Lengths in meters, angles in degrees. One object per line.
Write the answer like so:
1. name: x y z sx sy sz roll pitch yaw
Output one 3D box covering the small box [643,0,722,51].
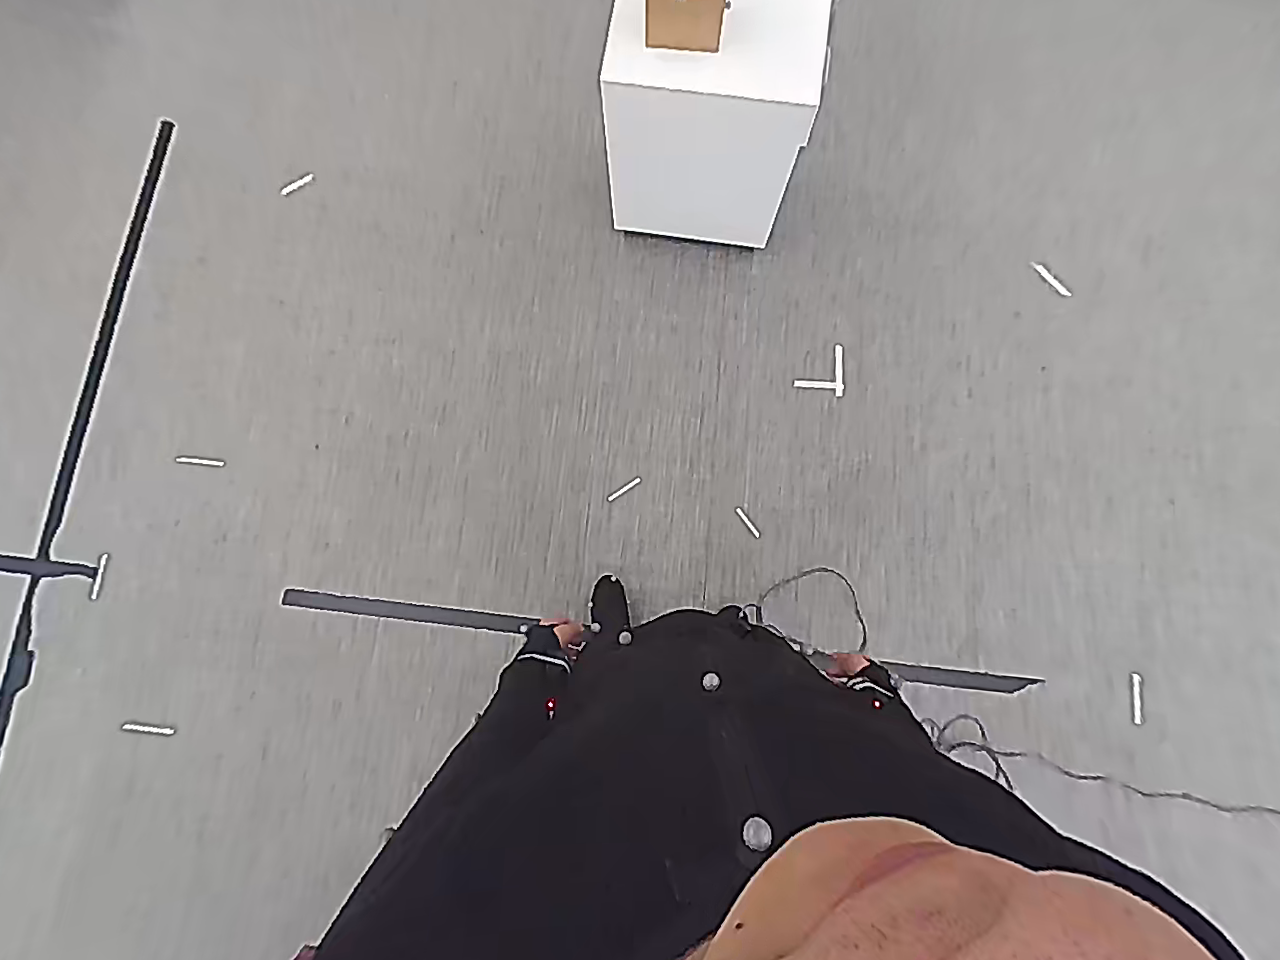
1. small box: 0.099 -1.113 1.216 0.179 0.176 0.168 6 80 1
